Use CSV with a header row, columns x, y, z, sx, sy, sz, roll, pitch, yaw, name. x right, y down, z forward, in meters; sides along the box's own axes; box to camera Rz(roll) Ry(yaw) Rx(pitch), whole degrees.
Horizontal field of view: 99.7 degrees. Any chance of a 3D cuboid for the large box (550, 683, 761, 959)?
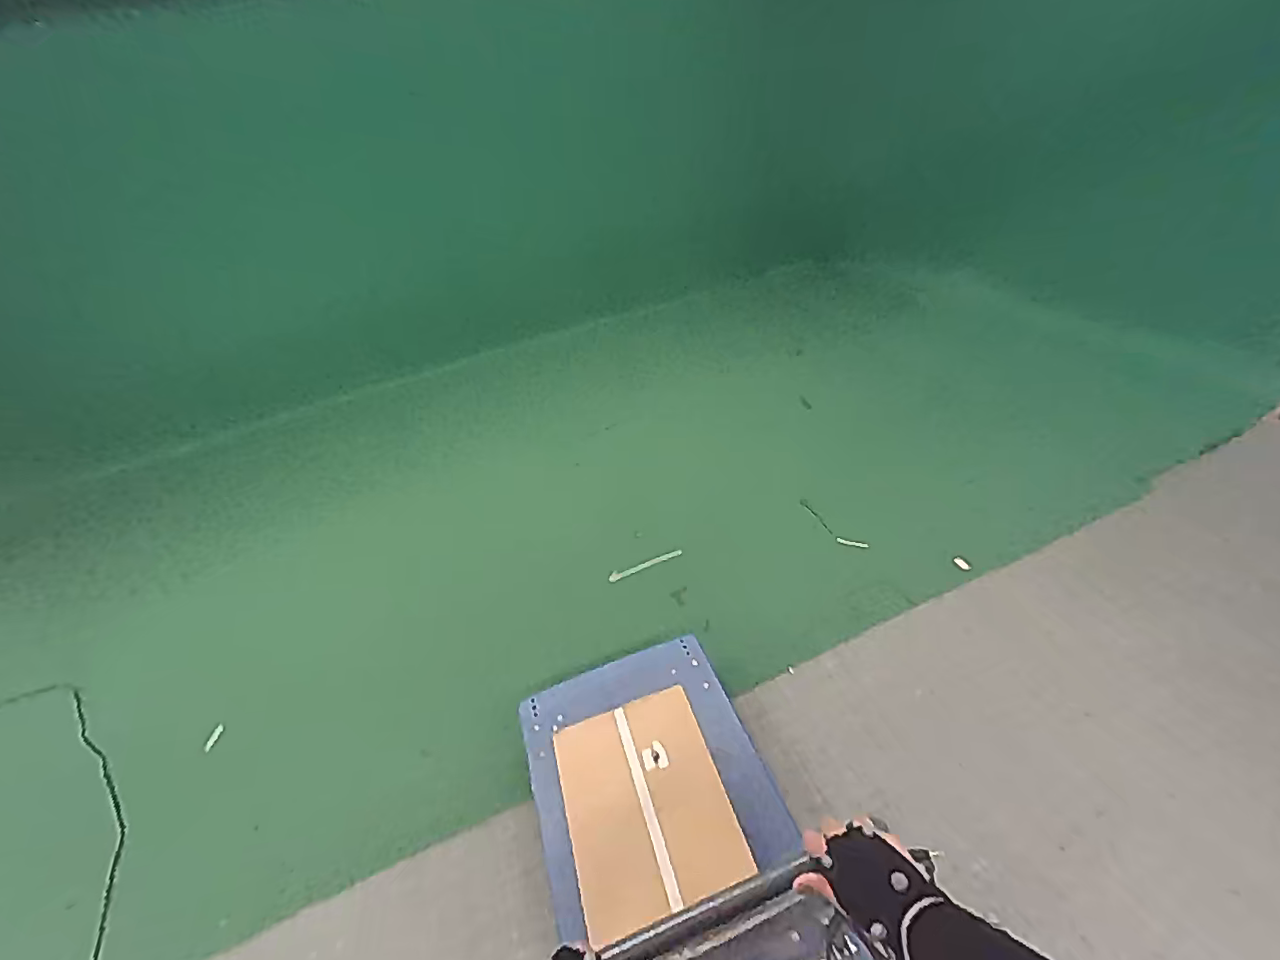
x,y,z,sx,sy,sz,roll,pitch,yaw,name
0.028,0.735,1.157,0.320,0.320,0.408,-17,38,-9,large box
